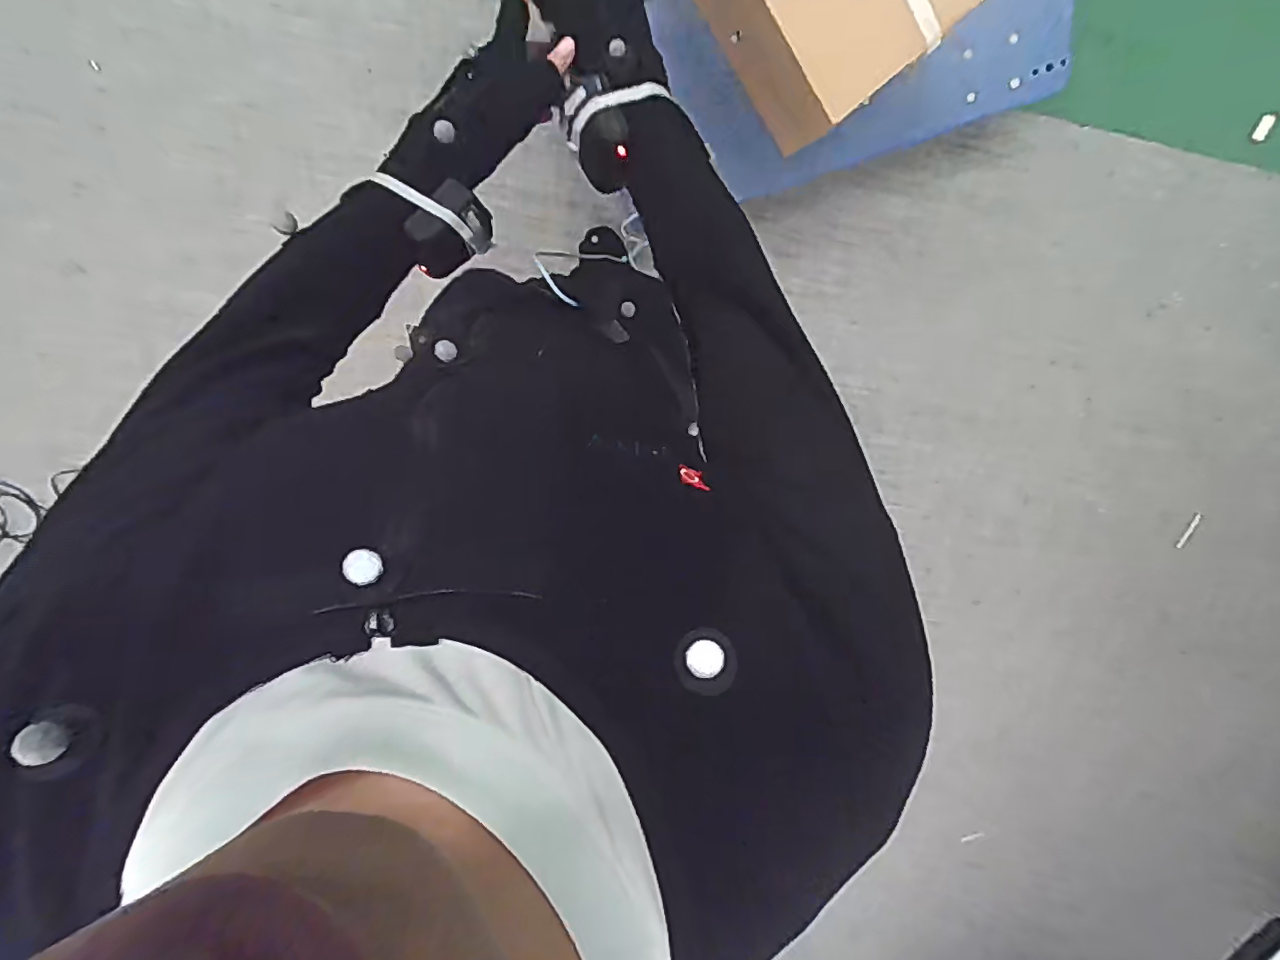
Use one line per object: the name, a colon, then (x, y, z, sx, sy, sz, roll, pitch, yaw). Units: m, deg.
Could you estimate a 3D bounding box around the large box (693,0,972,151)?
large box: (0.276, -0.813, 0.835, 0.320, 0.320, 0.408, -35, 108, 15)
